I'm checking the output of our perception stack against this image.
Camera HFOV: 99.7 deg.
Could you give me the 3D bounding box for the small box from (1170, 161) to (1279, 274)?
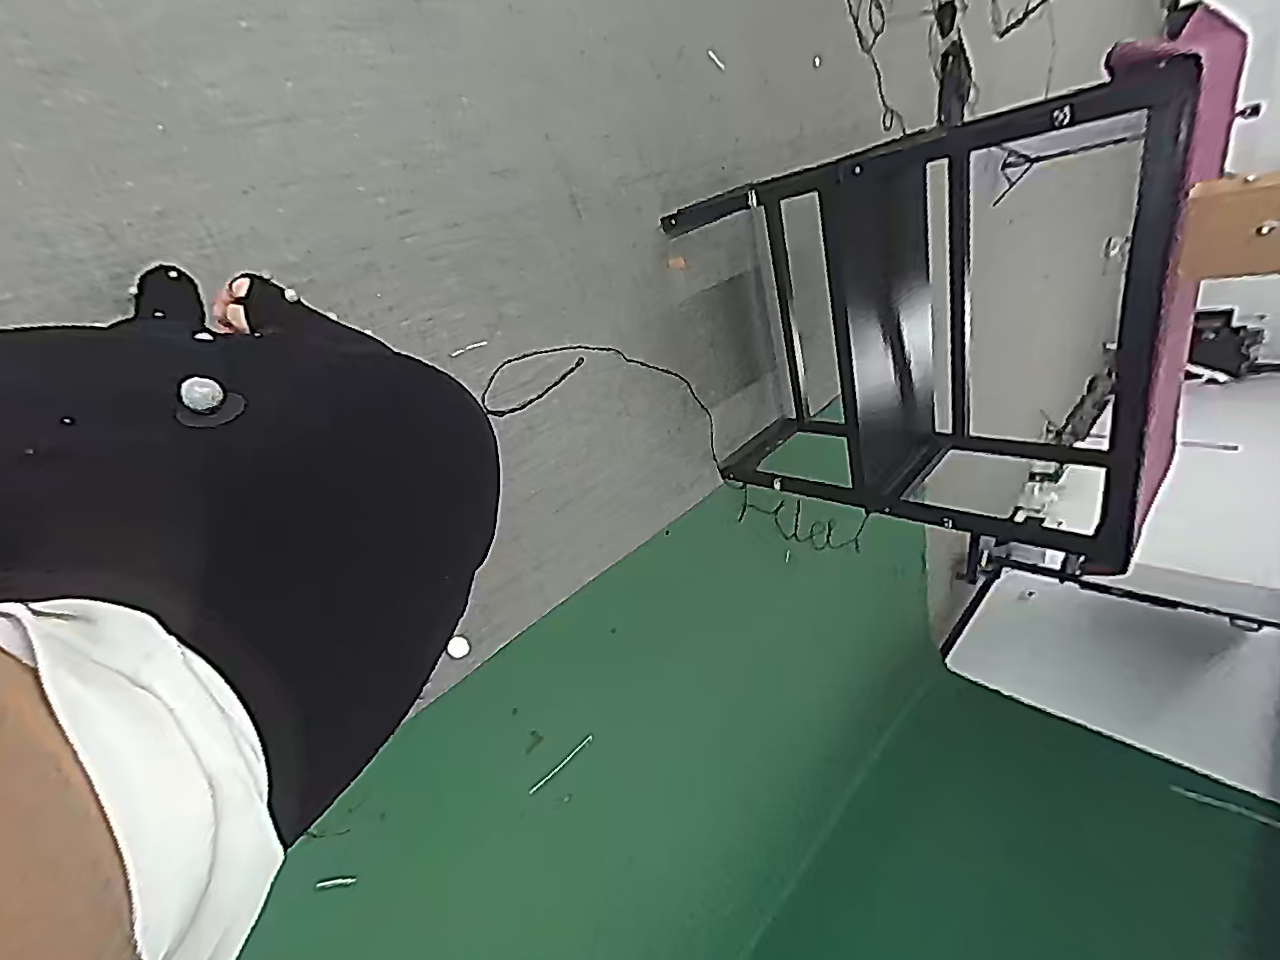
[{"bbox_3d":[1.238,-0.546,1.125,0.168,0.176,0.179,-33,120,-33],"label":"small box"}]
